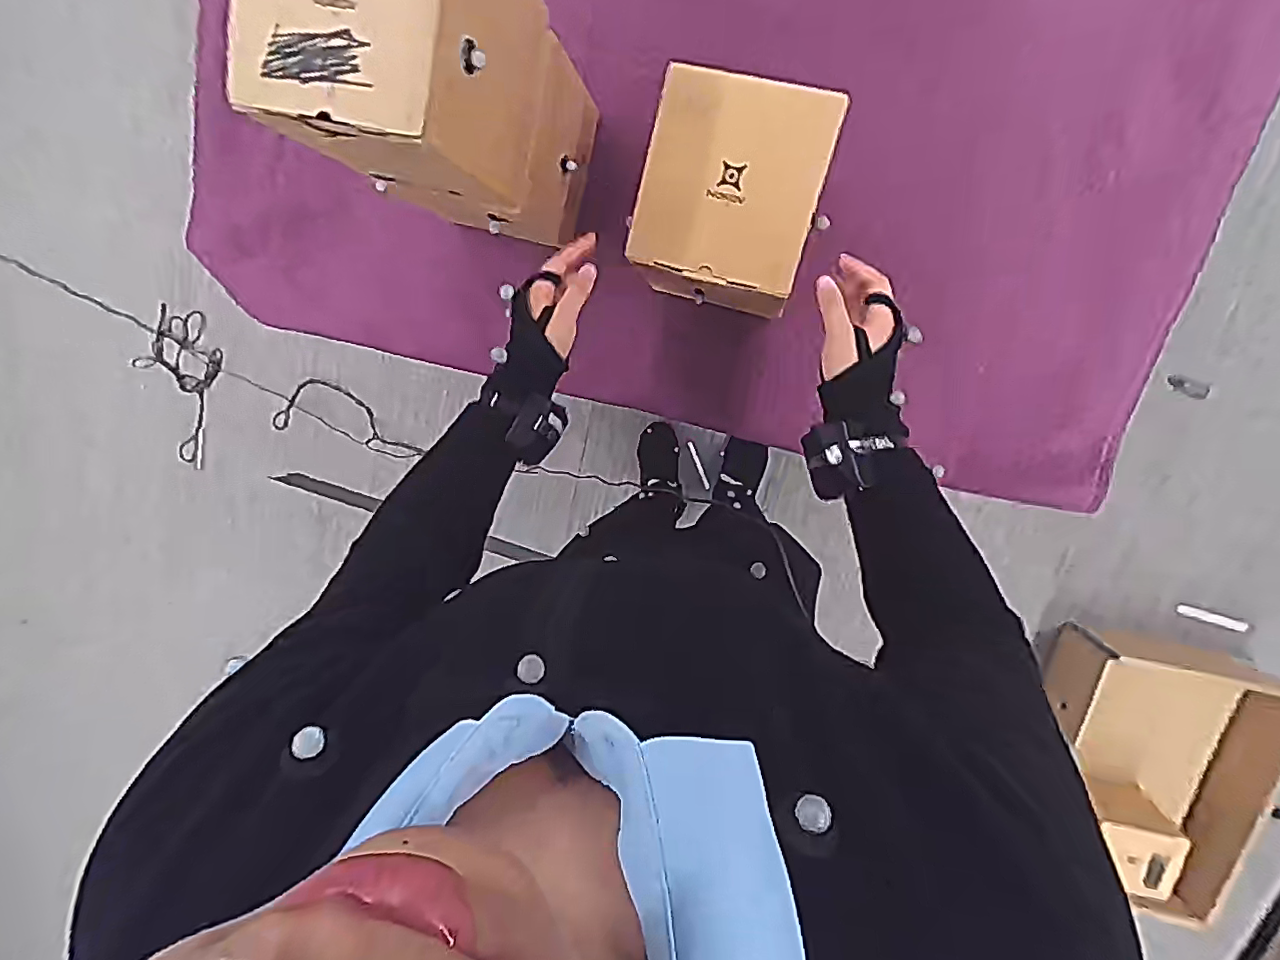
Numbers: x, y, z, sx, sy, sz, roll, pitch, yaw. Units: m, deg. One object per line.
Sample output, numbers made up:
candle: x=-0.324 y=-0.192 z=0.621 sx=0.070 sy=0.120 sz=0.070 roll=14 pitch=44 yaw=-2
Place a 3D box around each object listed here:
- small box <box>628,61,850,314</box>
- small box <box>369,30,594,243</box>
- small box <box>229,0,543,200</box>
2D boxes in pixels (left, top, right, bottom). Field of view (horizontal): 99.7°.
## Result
small box: x=0.099 y=-0.291 z=0.576 sx=0.168 sy=0.176 sz=0.179 roll=17 pitch=103 yaw=8
small box: x=-0.165 y=-0.382 z=0.610 sx=0.179 sy=0.176 sz=0.168 roll=17 pitch=103 yaw=8
small box: x=-0.194 y=-0.358 z=0.450 sx=0.168 sy=0.176 sz=0.179 roll=15 pitch=103 yaw=8
